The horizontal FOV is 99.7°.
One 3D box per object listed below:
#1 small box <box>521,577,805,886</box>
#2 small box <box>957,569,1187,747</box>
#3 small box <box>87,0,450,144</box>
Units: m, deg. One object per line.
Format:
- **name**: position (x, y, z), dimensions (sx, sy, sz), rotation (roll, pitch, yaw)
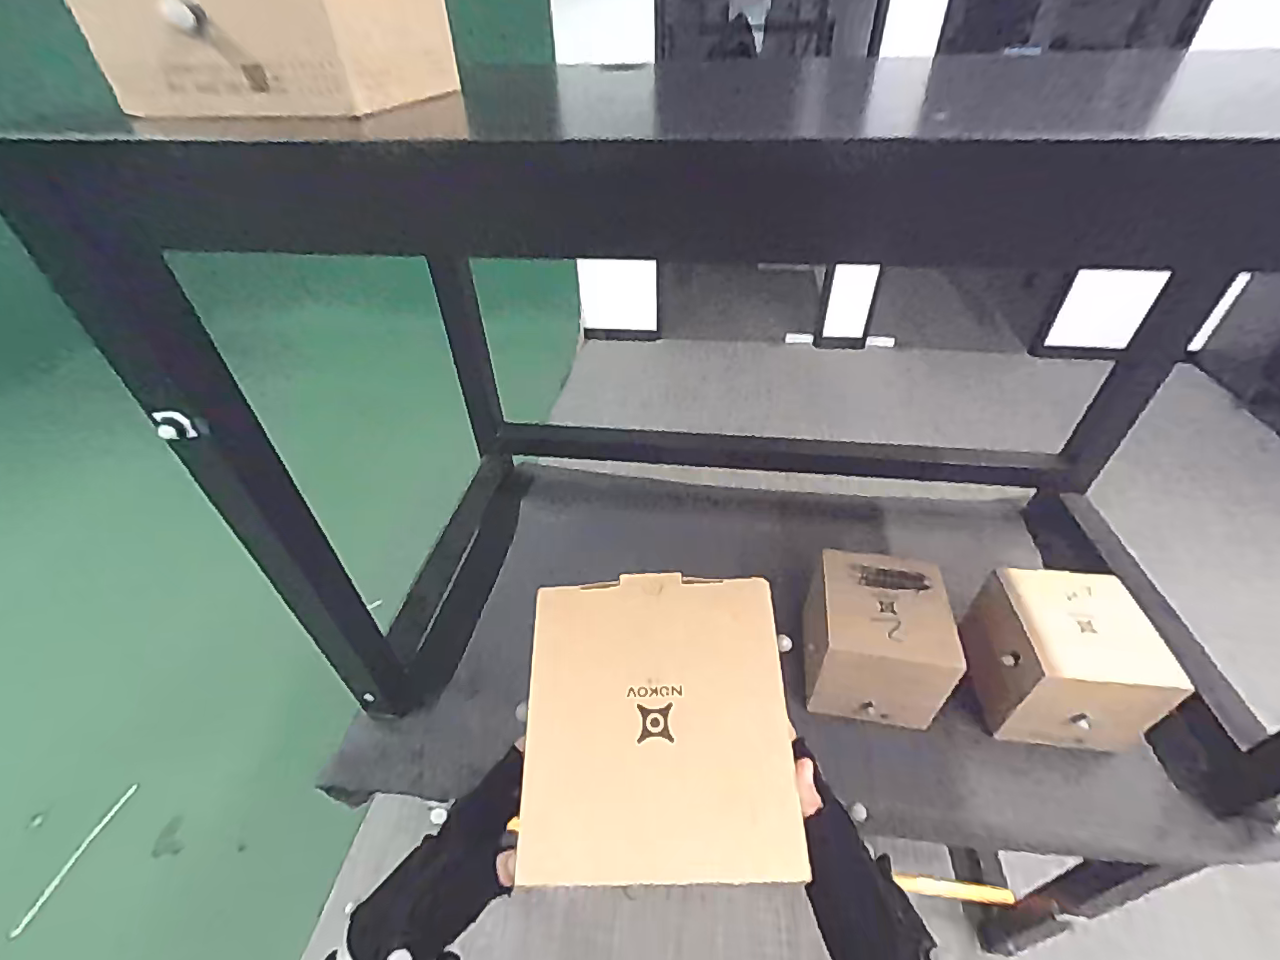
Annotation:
- **small box**: position (0.017, 0.188, 0.413), dimensions (0.168, 0.176, 0.179), rotation (-4, 59, 3)
- **small box**: position (0.581, 0.250, 0.761), dimensions (0.168, 0.176, 0.179), rotation (3, 39, 6)
- **small box**: position (-0.247, -0.343, 0.368), dimensions (0.168, 0.176, 0.179), rotation (3, 41, 6)
